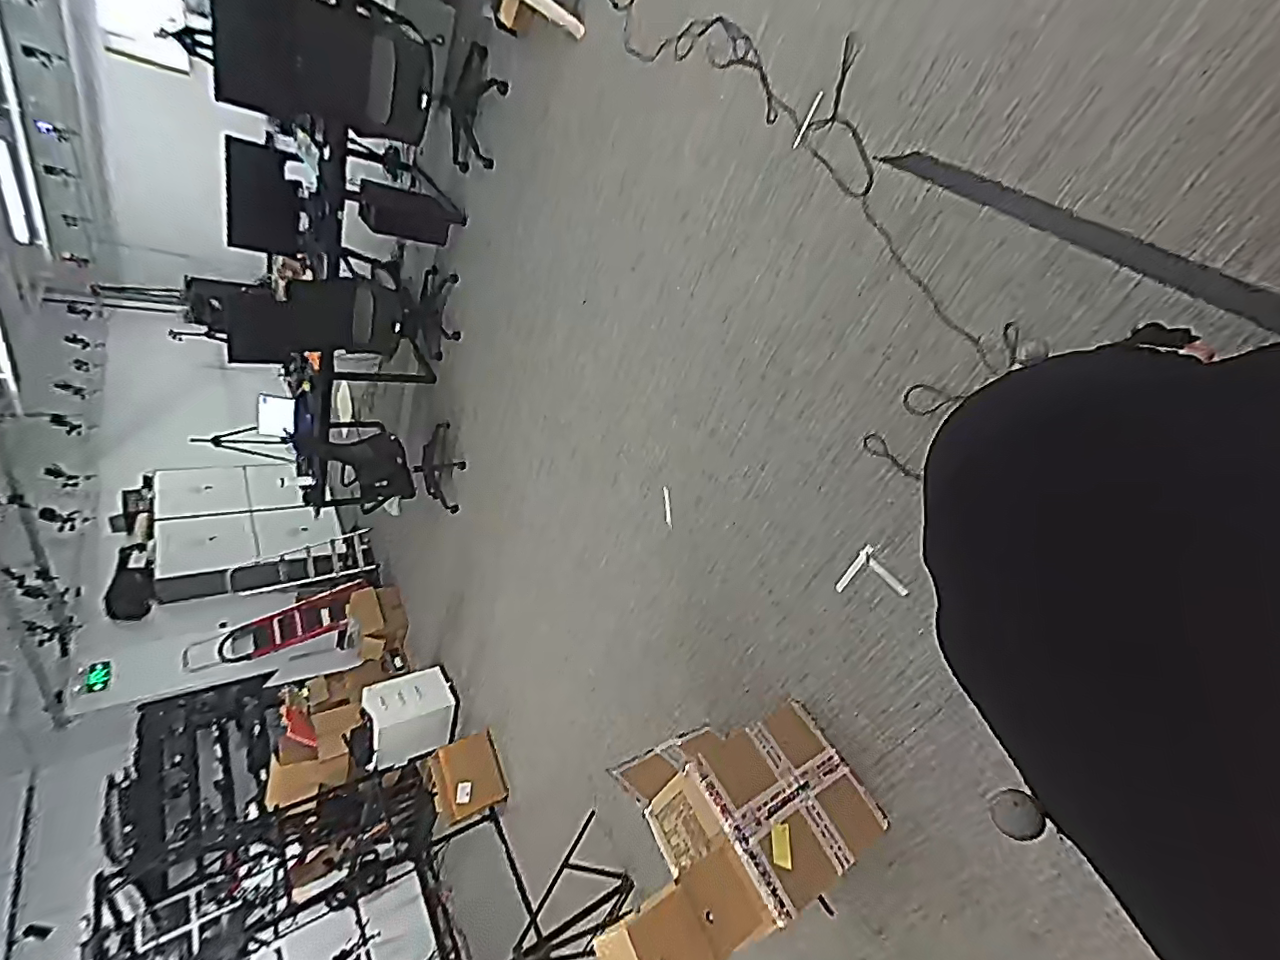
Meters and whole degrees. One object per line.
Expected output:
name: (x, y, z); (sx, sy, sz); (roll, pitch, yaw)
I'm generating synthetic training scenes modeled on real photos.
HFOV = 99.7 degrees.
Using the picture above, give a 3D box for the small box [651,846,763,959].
small box: (0.159, 1.023, 1.286); (0.179, 0.176, 0.168); (54, 129, 33)

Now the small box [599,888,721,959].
small box: (0.045, 1.023, 1.168); (0.179, 0.176, 0.168); (57, 131, 28)
